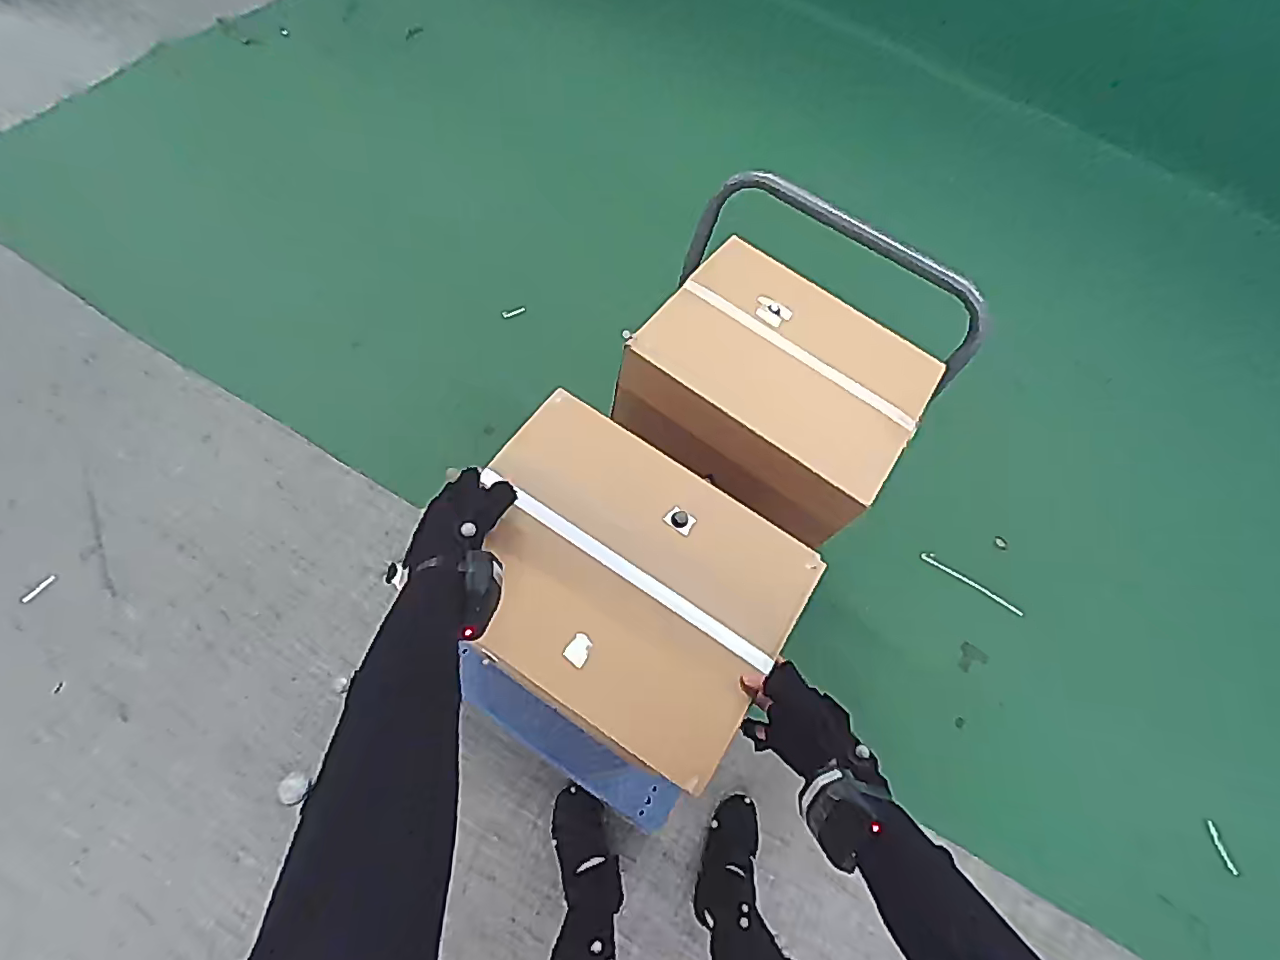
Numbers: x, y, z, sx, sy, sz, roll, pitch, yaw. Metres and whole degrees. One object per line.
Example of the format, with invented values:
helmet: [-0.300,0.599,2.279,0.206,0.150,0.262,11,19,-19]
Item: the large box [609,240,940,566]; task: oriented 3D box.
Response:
large box: [0.199,-0.117,0.930,0.408,0.320,0.320,35,64,10]
